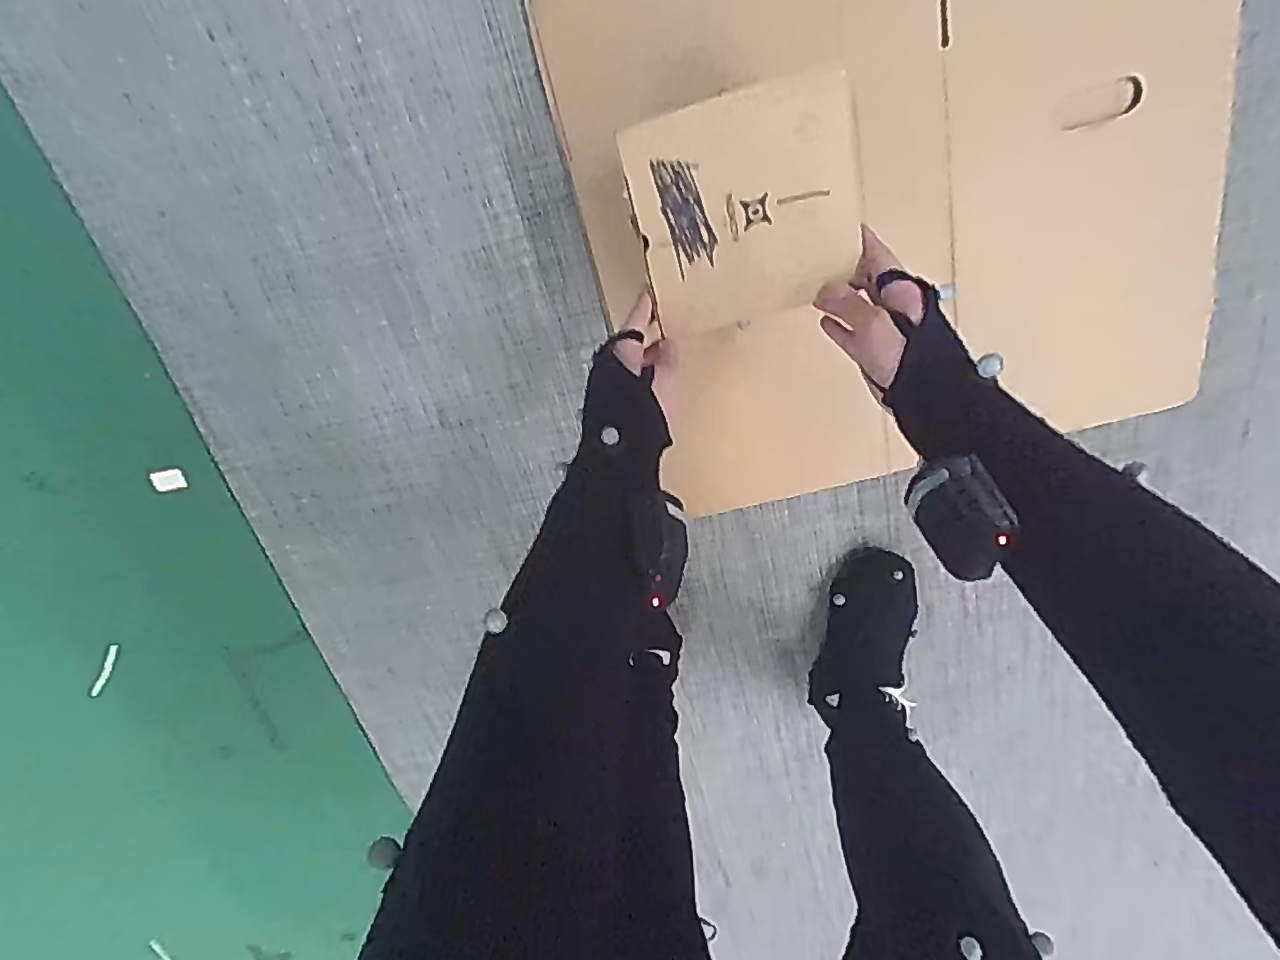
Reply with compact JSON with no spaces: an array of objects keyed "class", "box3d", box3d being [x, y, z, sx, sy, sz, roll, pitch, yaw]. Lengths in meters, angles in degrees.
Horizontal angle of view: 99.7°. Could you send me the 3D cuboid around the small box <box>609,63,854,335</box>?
[{"class":"small box","box3d":[0.084,-0.246,0.509,0.179,0.176,0.168,-12,112,9]}]
